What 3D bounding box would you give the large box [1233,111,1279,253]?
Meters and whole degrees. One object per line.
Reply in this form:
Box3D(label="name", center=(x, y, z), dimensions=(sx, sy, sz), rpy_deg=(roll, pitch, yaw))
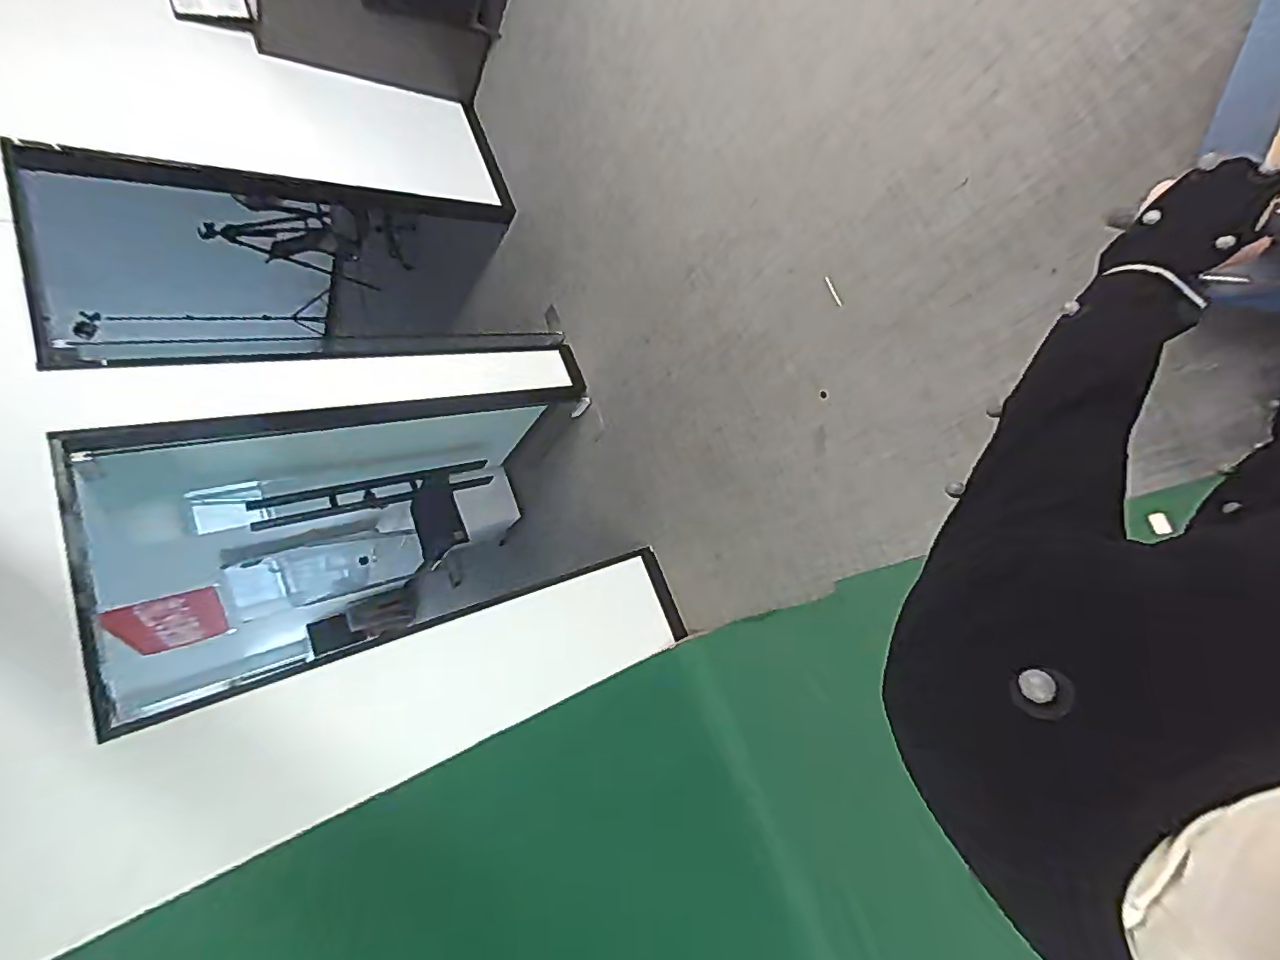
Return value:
Box3D(label="large box", center=(1.083, -0.517, 0.693), dimensions=(0.320, 0.320, 0.408), rpy_deg=(29, 120, 44))
